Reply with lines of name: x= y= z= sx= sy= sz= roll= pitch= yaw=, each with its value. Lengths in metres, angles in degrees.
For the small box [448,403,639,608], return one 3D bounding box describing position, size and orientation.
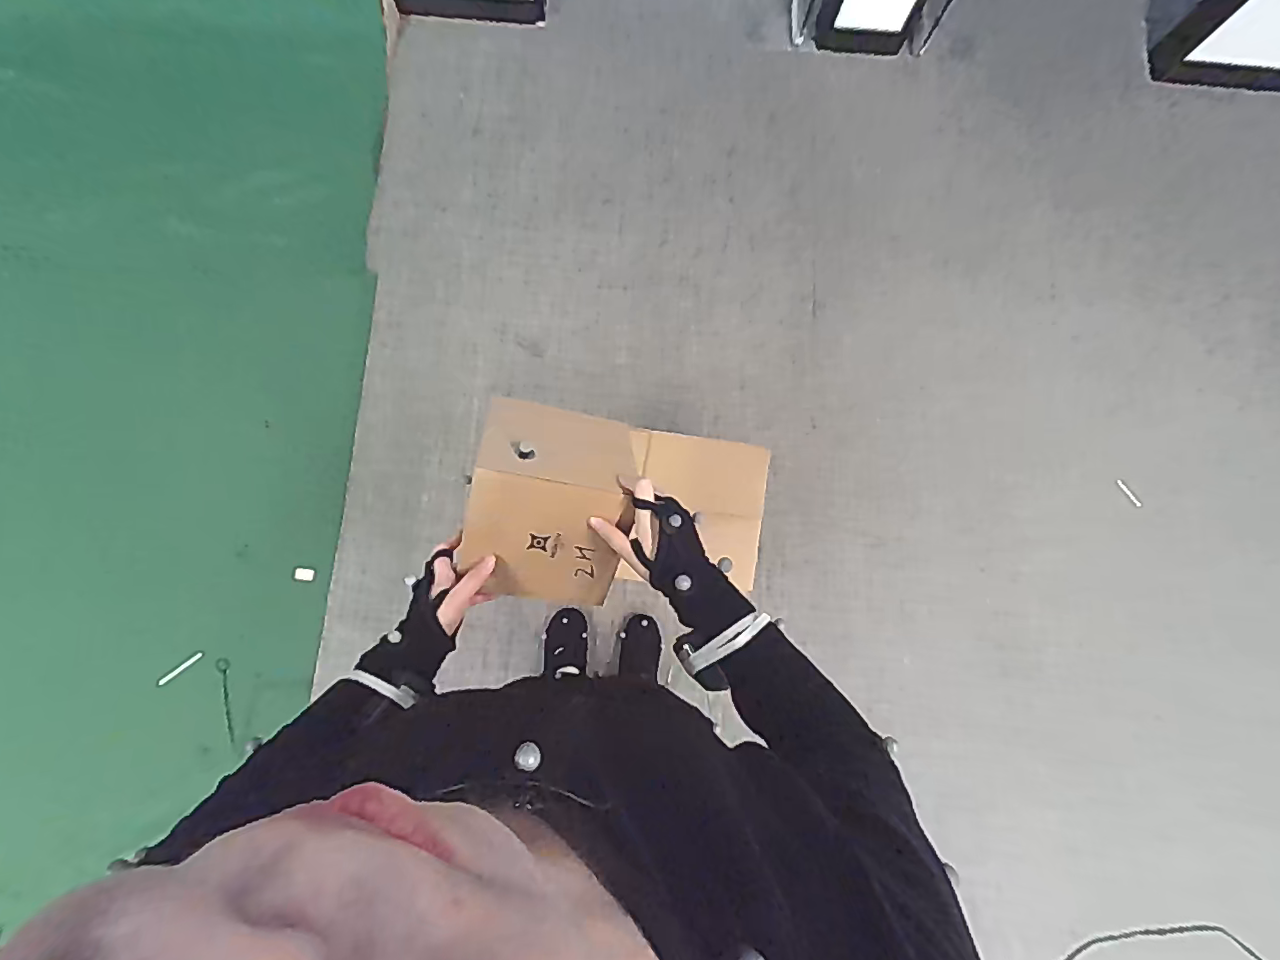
small box: x=-0.115 y=0.025 z=0.645 sx=0.179 sy=0.176 sz=0.168 roll=11 pitch=121 yaw=-16
